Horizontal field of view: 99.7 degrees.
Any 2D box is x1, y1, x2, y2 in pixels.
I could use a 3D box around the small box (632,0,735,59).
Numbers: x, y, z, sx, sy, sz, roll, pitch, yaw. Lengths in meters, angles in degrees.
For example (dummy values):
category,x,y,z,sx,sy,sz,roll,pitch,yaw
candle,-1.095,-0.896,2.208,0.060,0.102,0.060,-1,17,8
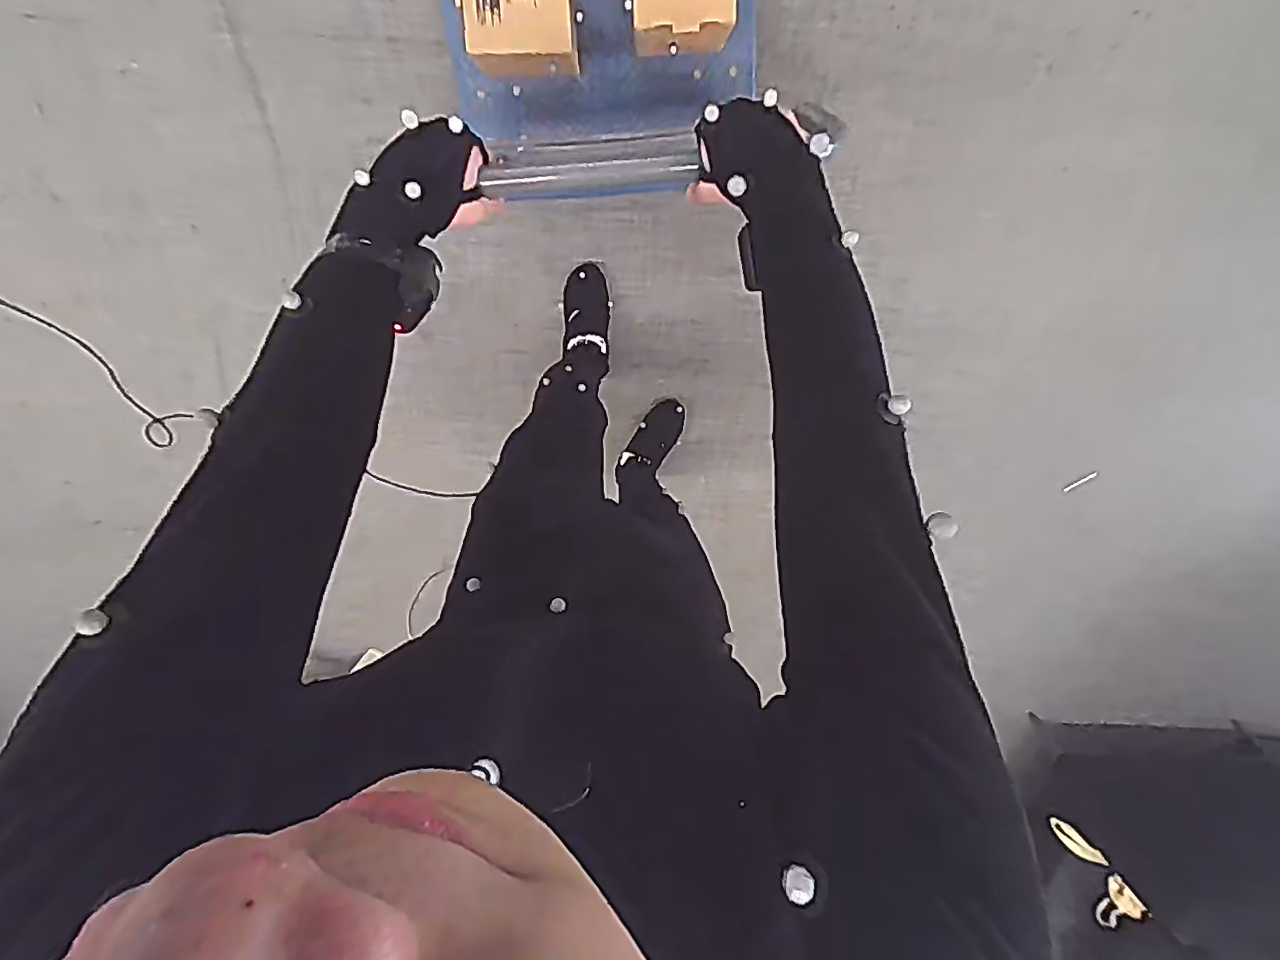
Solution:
category,x,y,z,sx,sy,sz,roll,pitch,yaw
small box,0.070,-0.858,0.930,0.168,0.176,0.179,-4,117,1
